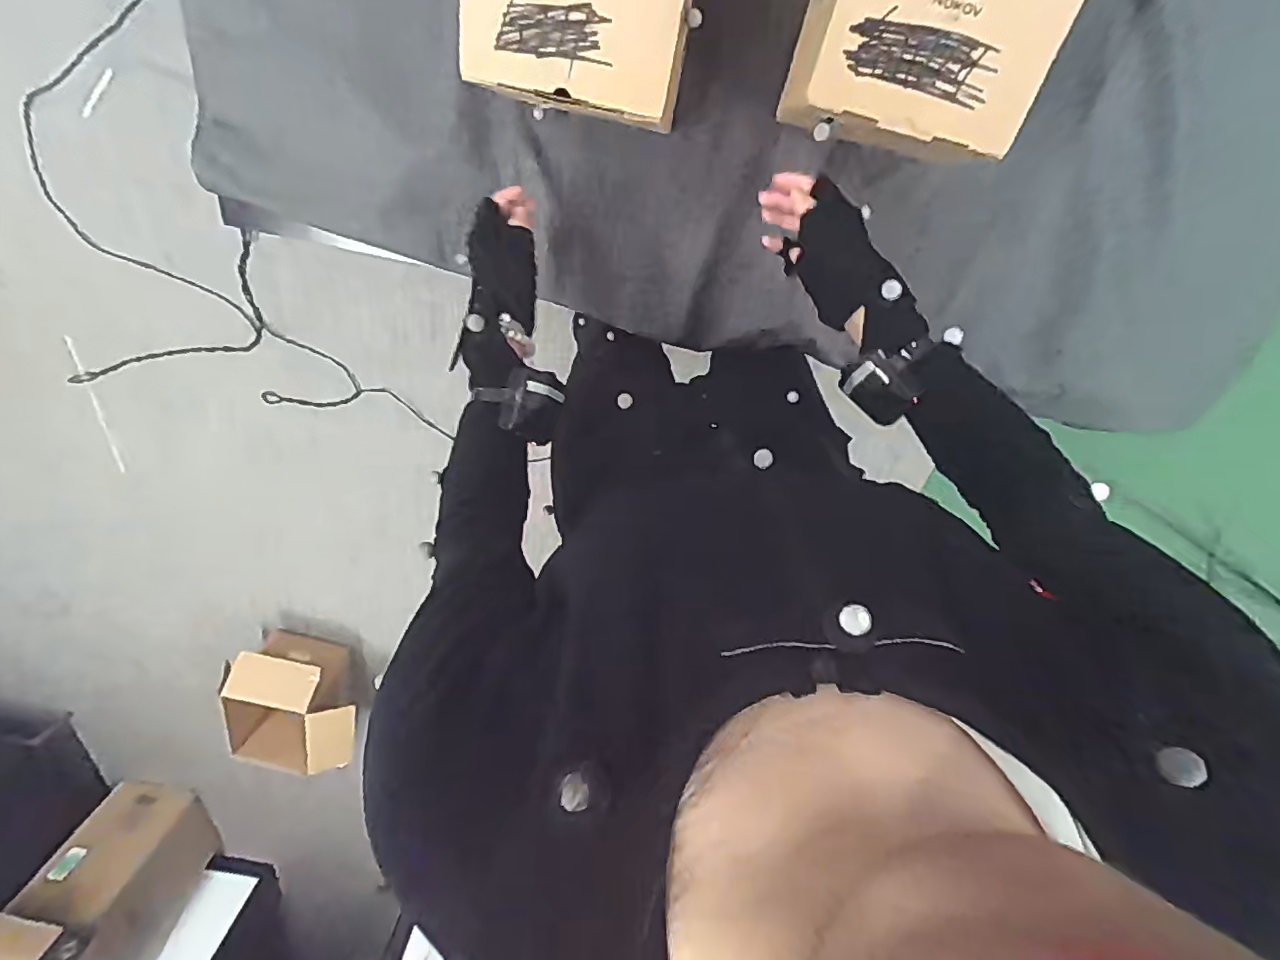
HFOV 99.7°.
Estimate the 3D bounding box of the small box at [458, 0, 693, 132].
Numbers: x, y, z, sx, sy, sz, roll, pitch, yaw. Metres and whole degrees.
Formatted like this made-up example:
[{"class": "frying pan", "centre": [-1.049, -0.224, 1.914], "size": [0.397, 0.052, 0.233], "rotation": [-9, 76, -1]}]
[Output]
[{"class": "small box", "centre": [-0.041, -0.410, 0.454], "size": [0.168, 0.176, 0.179], "rotation": [12, 120, -1]}]
